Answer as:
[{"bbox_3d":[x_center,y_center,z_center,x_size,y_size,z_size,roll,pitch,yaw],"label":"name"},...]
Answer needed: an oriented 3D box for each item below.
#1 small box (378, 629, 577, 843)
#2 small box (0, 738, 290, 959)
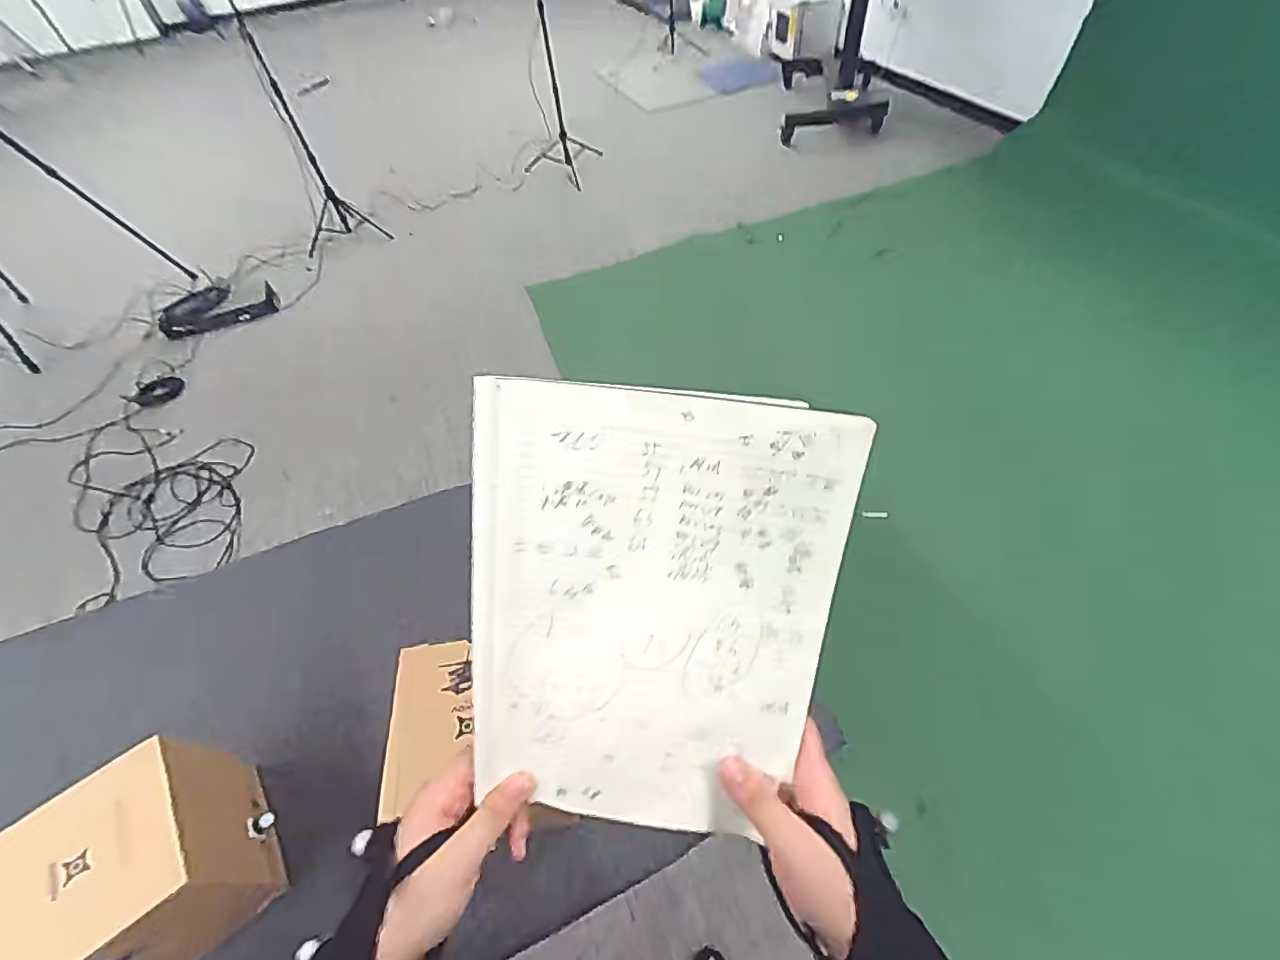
[{"bbox_3d":[-0.170,0.296,0.621,0.168,0.176,0.179,-9,52,-1],"label":"small box"},{"bbox_3d":[-0.518,0.415,0.566,0.179,0.176,0.168,-34,57,-20],"label":"small box"}]
